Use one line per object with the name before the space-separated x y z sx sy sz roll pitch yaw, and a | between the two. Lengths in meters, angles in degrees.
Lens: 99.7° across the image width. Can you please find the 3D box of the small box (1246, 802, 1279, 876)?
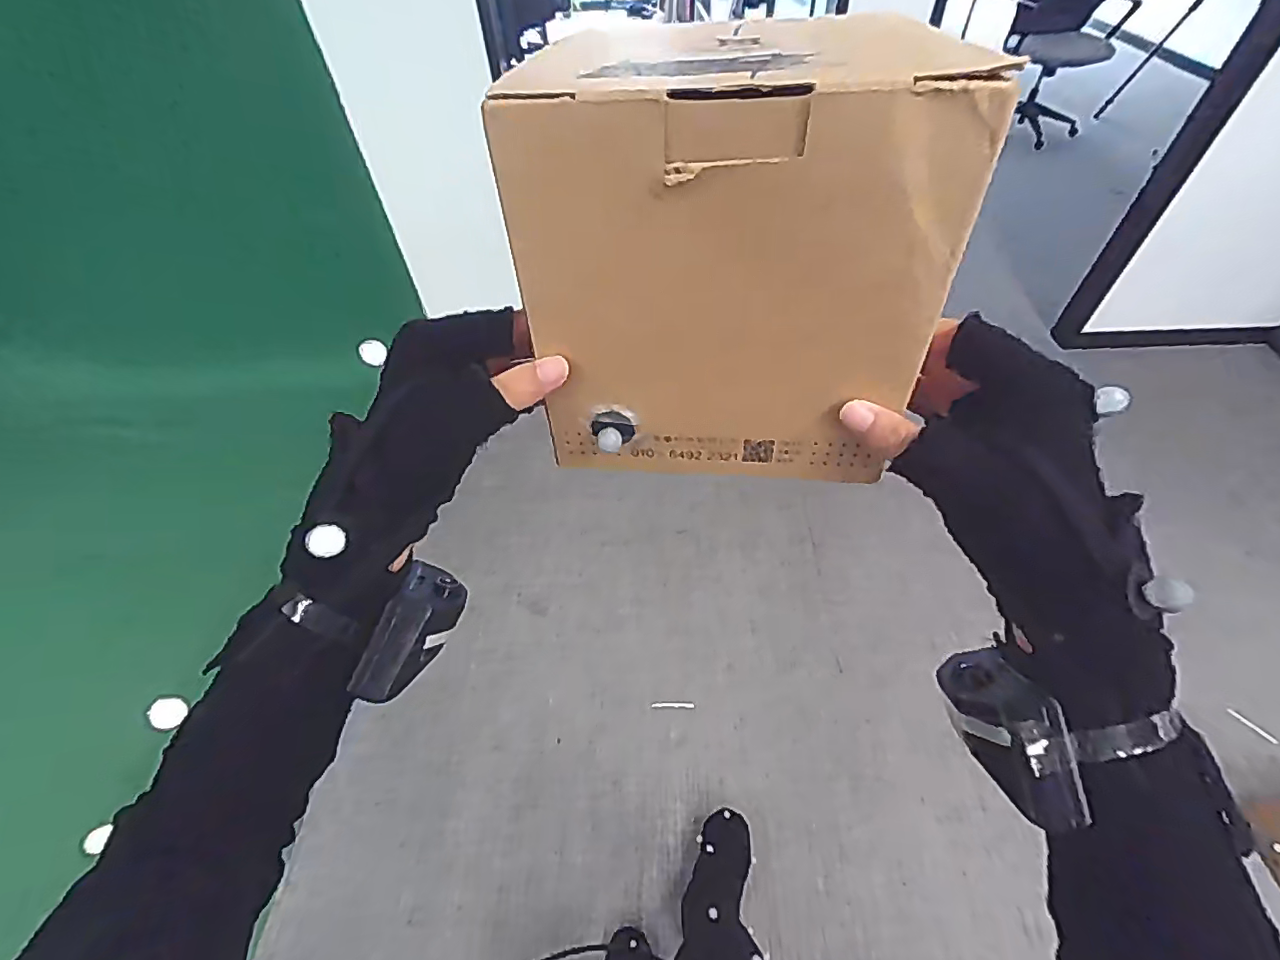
small box | 1.427 0.747 1.093 0.179 0.176 0.168 -1 50 3

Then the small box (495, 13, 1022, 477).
small box | 0.047 -0.118 0.280 0.168 0.176 0.179 3 44 7
